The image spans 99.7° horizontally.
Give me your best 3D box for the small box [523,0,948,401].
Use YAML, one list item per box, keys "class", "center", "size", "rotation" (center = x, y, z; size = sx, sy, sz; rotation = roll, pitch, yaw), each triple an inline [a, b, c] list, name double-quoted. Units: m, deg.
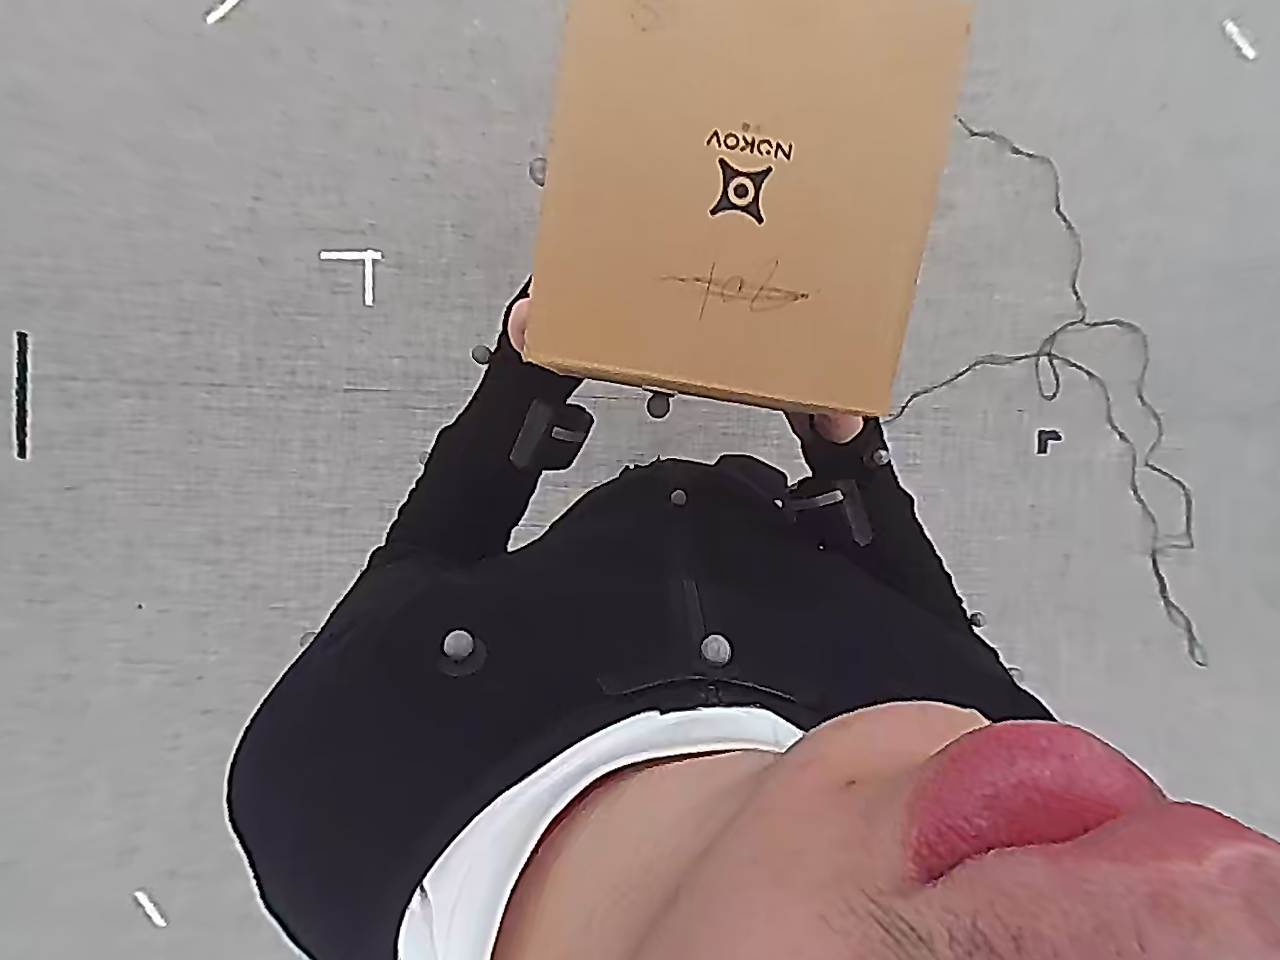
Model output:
- class: "small box"
  center: [0.037, -0.146, 0.318]
  size: [0.168, 0.176, 0.179]
  rotation: [9, 98, -3]
